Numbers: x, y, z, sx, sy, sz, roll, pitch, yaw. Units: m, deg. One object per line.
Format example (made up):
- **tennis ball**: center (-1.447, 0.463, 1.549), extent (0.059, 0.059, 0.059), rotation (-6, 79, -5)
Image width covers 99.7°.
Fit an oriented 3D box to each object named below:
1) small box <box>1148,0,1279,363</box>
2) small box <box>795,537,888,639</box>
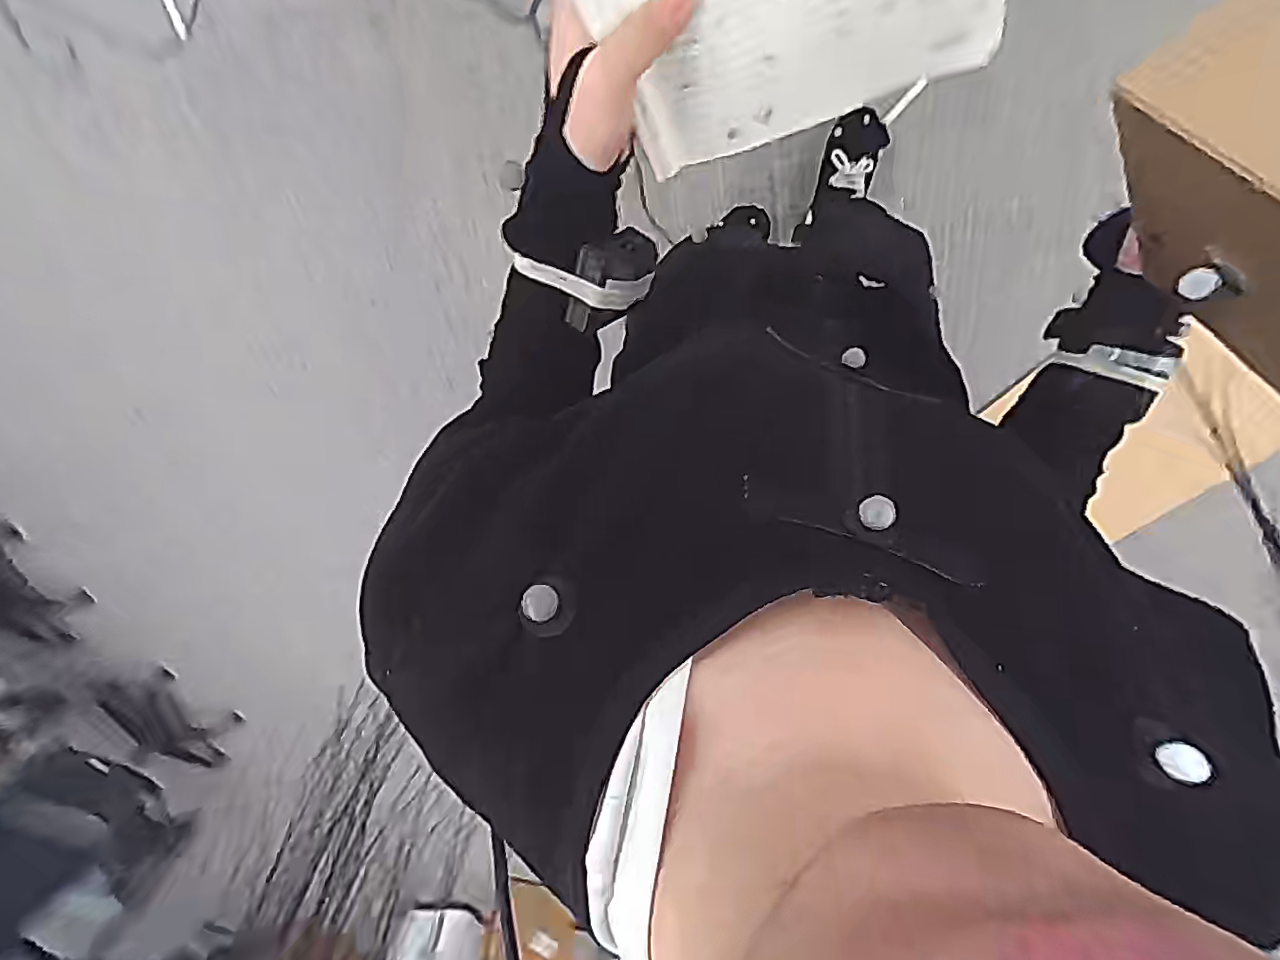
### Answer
- **small box**: center (0.359, -0.143, 0.222), extent (0.168, 0.176, 0.179), rotation (25, 134, -39)
- **small box**: center (0.467, 0.251, 1.281), extent (0.168, 0.176, 0.179), rotation (1, 120, 8)
